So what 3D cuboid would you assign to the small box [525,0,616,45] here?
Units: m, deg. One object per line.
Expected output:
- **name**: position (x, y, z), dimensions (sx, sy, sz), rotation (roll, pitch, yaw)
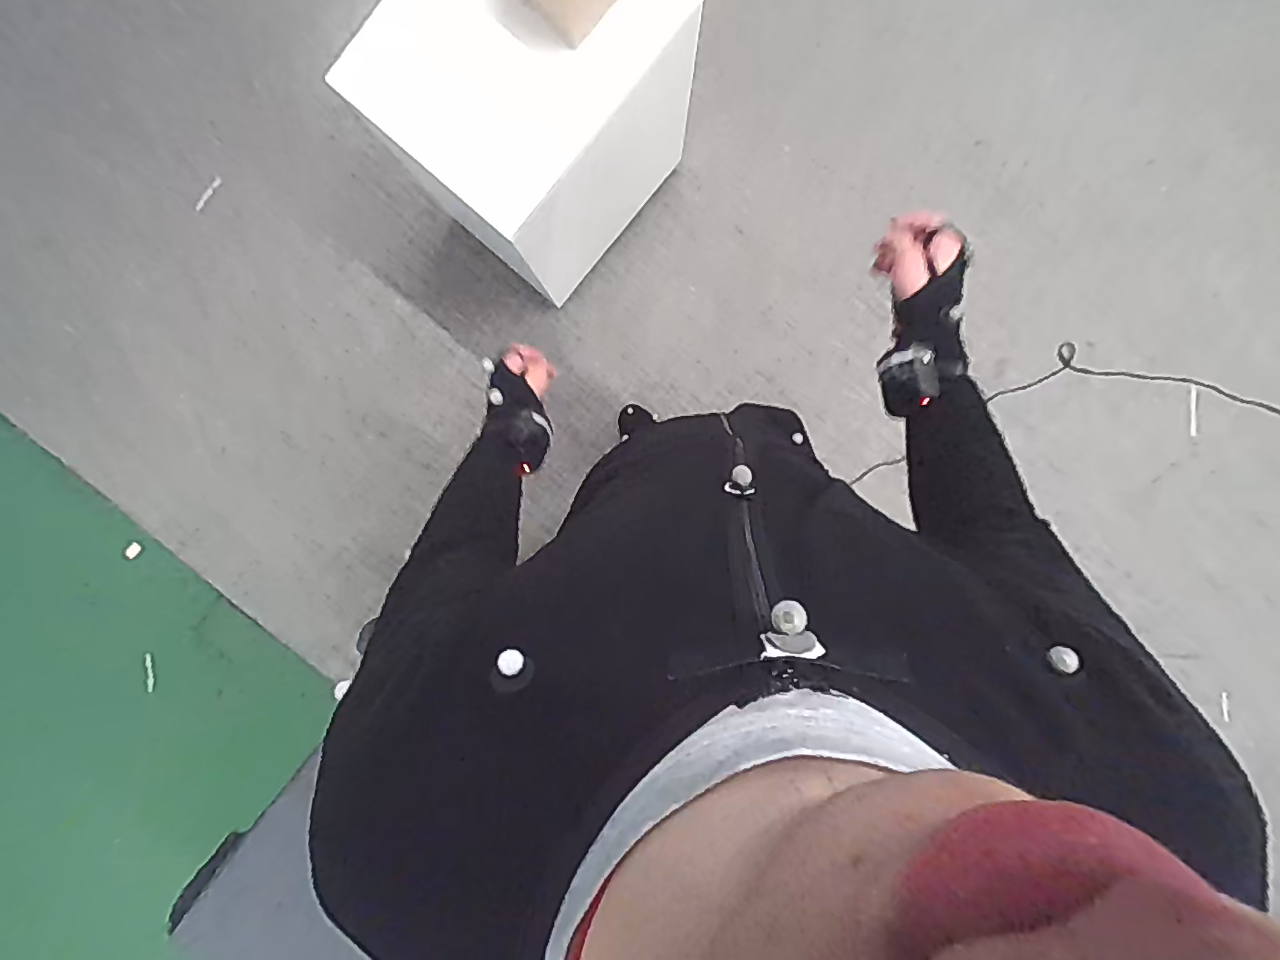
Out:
- **small box**: position (-0.108, -0.810, 0.788), dimensions (0.168, 0.176, 0.179), rotation (42, 97, -3)
